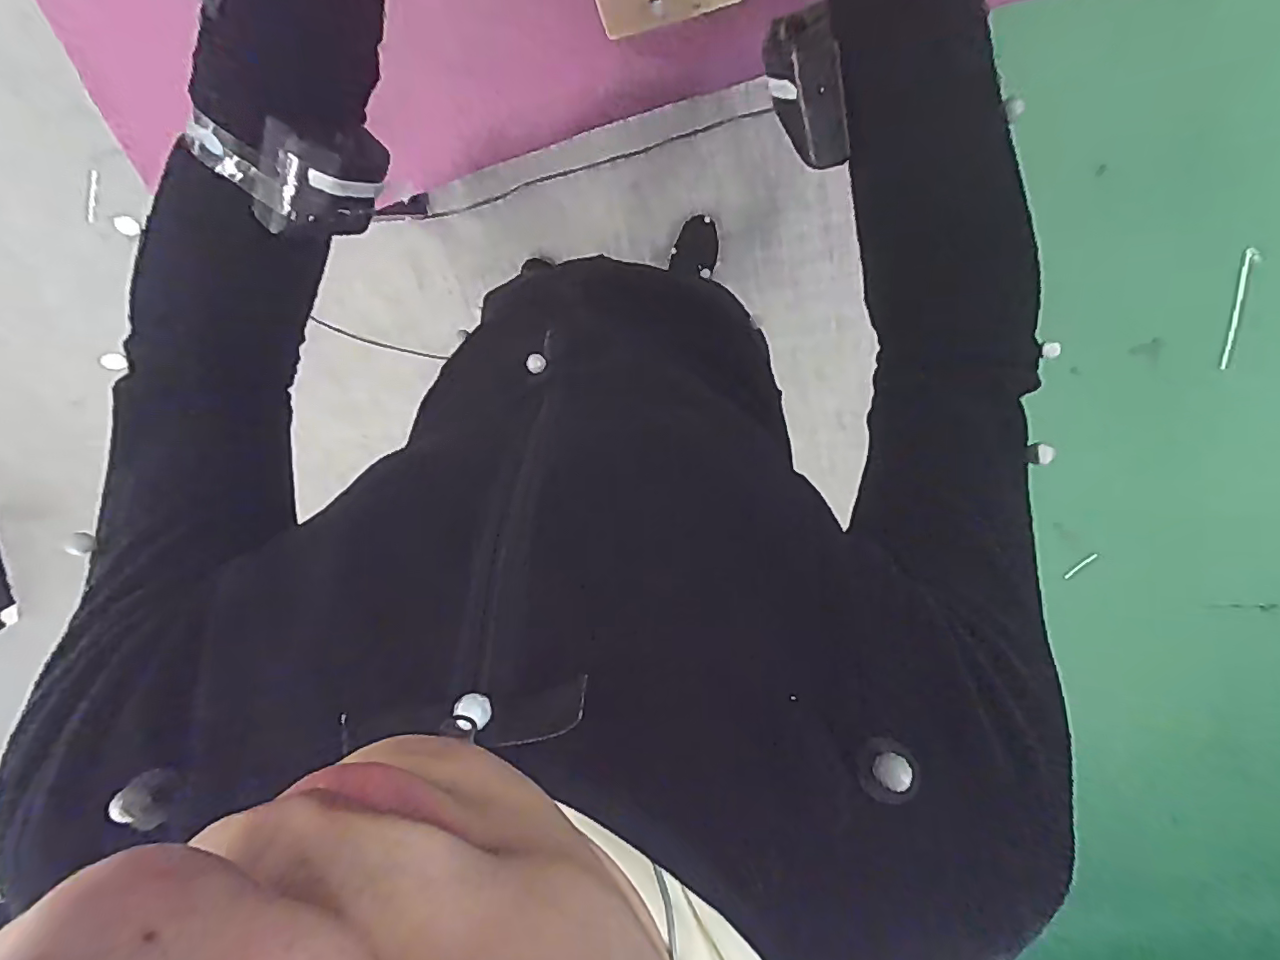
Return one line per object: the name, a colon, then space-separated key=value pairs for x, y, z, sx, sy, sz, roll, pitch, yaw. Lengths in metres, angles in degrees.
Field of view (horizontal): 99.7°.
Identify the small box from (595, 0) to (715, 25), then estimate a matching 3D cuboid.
small box: x=0.016 y=-0.588 z=0.529 sx=0.168 sy=0.176 sz=0.179 roll=-10 pitch=114 yaw=9
